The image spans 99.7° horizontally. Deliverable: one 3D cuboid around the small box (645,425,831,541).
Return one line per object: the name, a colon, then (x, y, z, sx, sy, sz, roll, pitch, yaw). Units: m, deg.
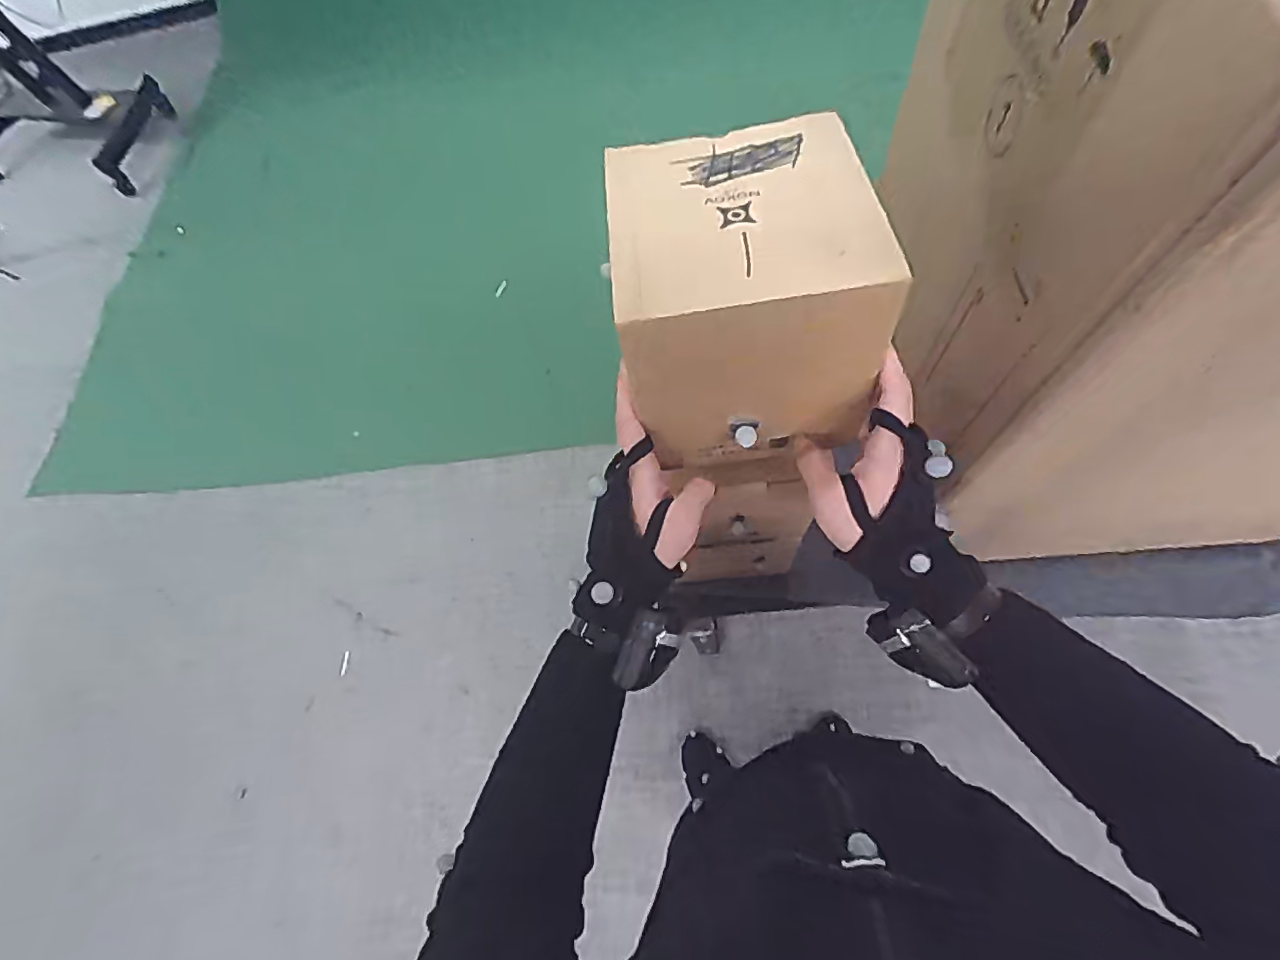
small box: (0.096, -0.039, 0.591, 0.168, 0.176, 0.179, -6, 66, 5)

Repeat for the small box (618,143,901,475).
small box: (0.077, -0.127, 0.429, 0.168, 0.176, 0.179, -8, 57, 5)

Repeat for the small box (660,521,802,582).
small box: (0.114, 0.034, 0.737, 0.168, 0.176, 0.179, -7, 64, 5)
